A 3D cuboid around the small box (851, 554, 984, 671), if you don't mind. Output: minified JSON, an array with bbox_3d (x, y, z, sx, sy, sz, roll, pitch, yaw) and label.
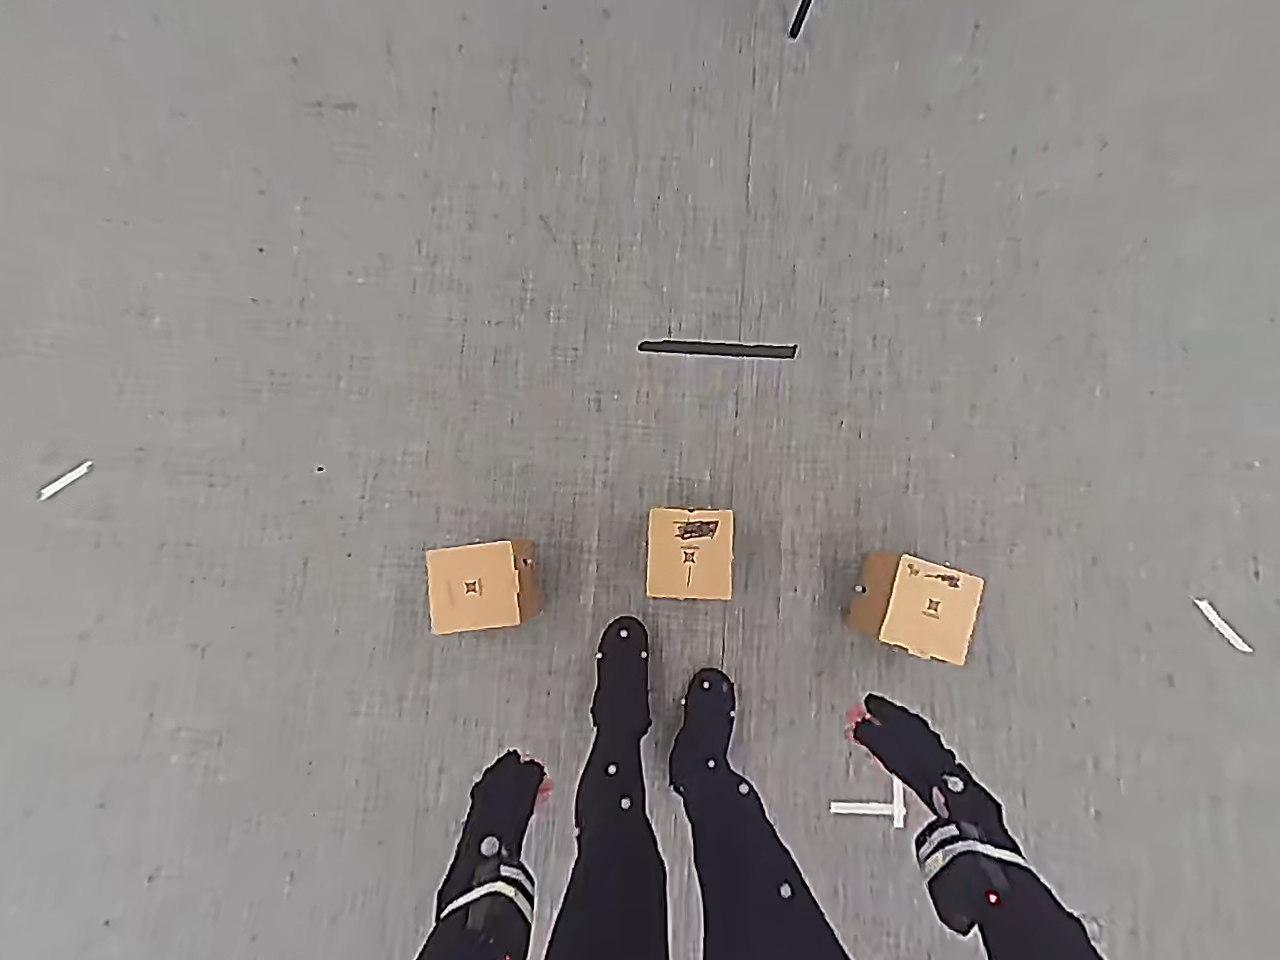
[{"bbox_3d":[0.553,0.261,1.104,0.168,0.176,0.179,18,85,3],"label":"small box"}]

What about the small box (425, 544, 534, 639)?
[{"bbox_3d":[-0.323,0.224,1.122,0.179,0.176,0.168,-8,82,1],"label":"small box"}]

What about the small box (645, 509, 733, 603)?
[{"bbox_3d":[0.096,0.154,1.120,0.168,0.176,0.179,2,85,1],"label":"small box"}]
